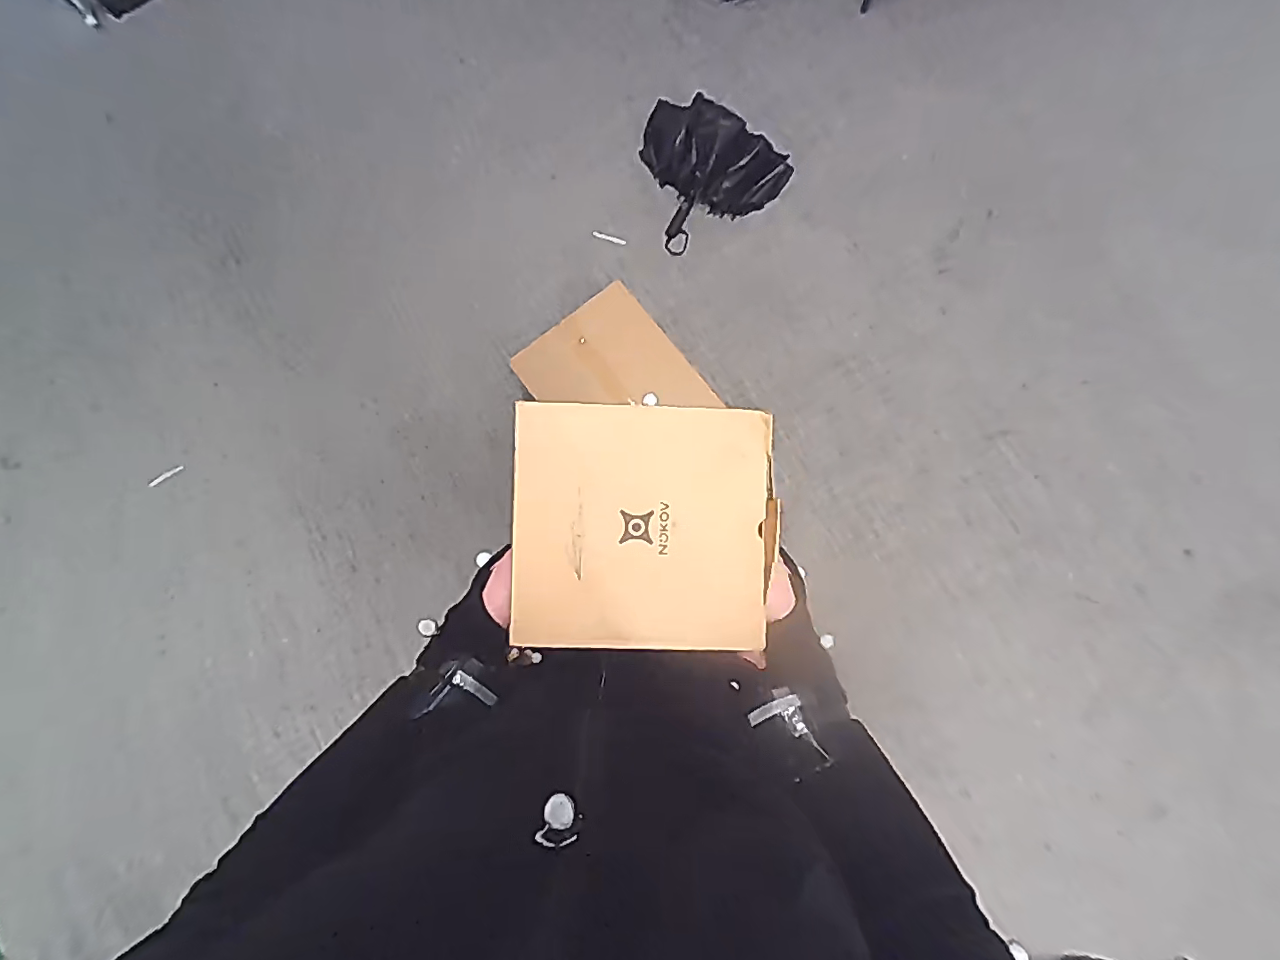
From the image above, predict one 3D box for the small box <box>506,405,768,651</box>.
[{"bbox_3d":[-0.004,0.034,0.446,0.179,0.176,0.168,1,89,-2],"label":"small box"}]
